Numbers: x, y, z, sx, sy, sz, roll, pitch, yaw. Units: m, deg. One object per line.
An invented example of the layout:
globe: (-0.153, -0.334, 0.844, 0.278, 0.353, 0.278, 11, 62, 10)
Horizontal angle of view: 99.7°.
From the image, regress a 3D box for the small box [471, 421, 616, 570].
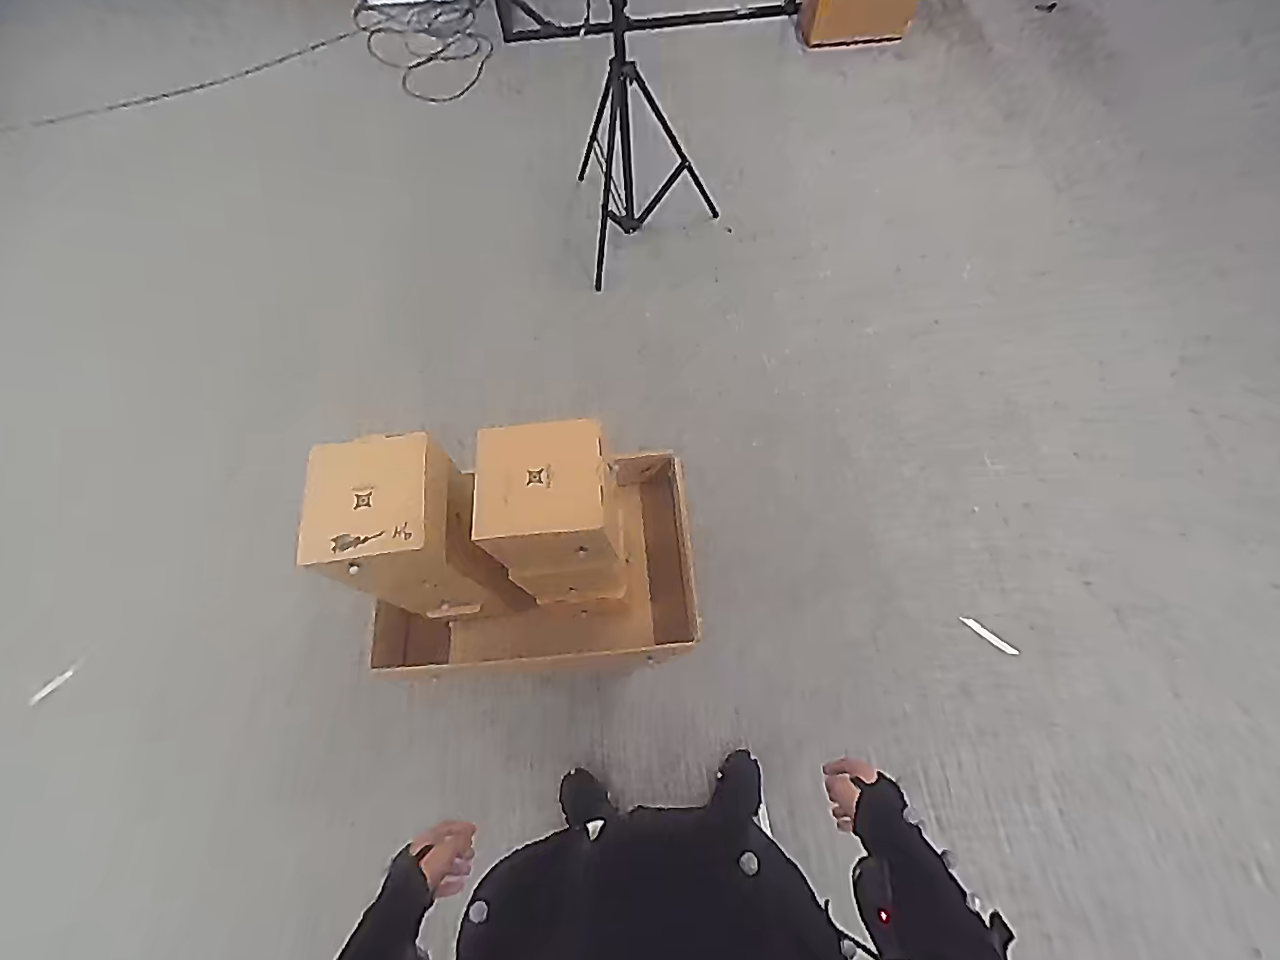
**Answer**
small box: (-0.129, 0.030, 0.797, 0.179, 0.176, 0.168, -5, 66, 4)

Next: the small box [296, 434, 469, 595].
small box: (-0.360, 0.056, 0.793, 0.168, 0.176, 0.179, -8, 65, 1)

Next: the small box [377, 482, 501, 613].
small box: (-0.346, 0.123, 0.944, 0.168, 0.176, 0.179, -8, 66, 0)

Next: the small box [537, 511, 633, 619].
small box: (-0.104, 0.176, 1.089, 0.168, 0.176, 0.179, -4, 67, 4)
